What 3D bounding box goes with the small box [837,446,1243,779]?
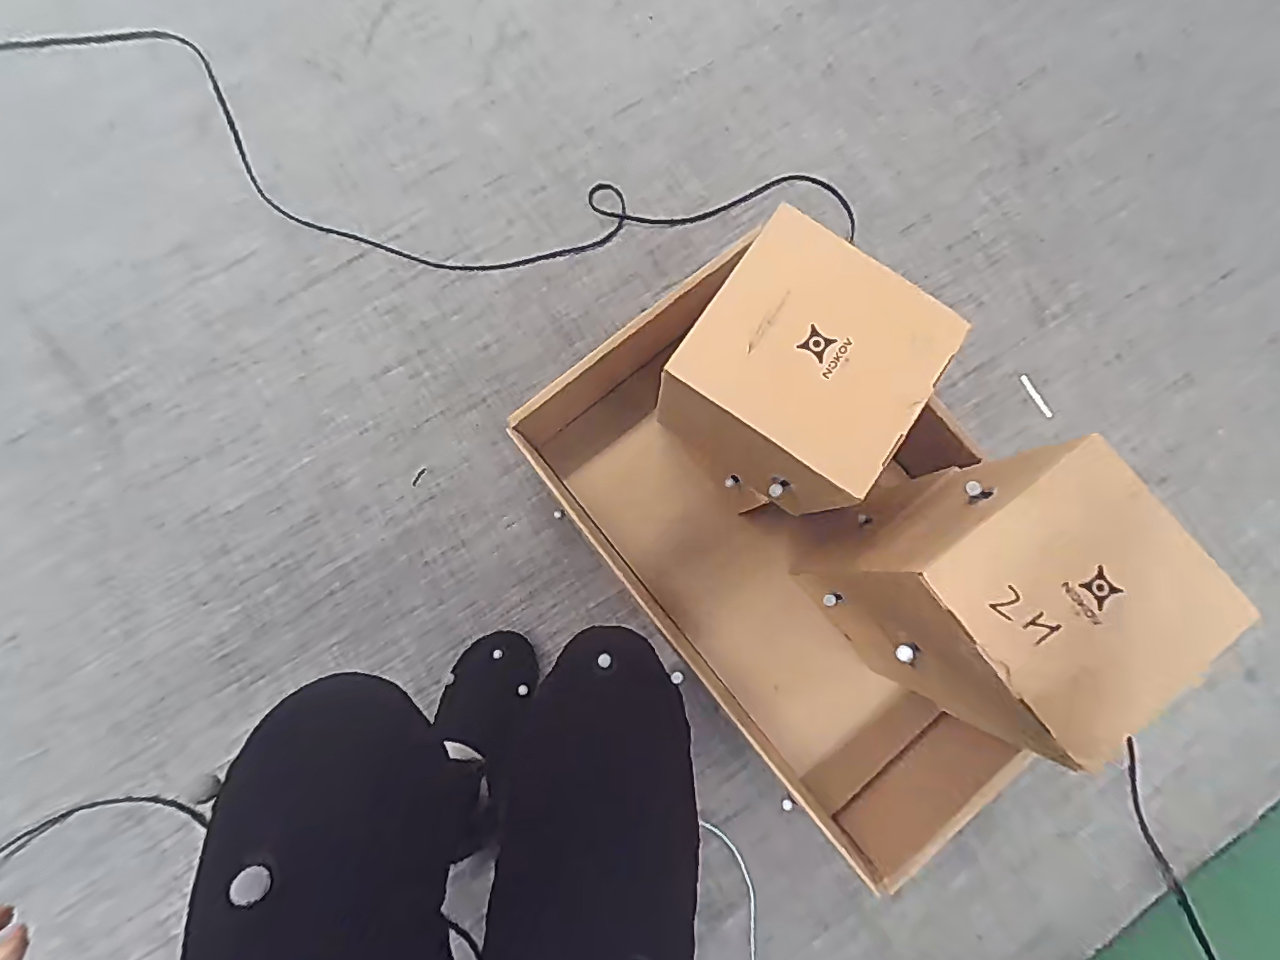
[{"bbox_3d":[0.304,0.098,0.455,0.179,0.176,0.168,-36,83,-5],"label":"small box"}]
